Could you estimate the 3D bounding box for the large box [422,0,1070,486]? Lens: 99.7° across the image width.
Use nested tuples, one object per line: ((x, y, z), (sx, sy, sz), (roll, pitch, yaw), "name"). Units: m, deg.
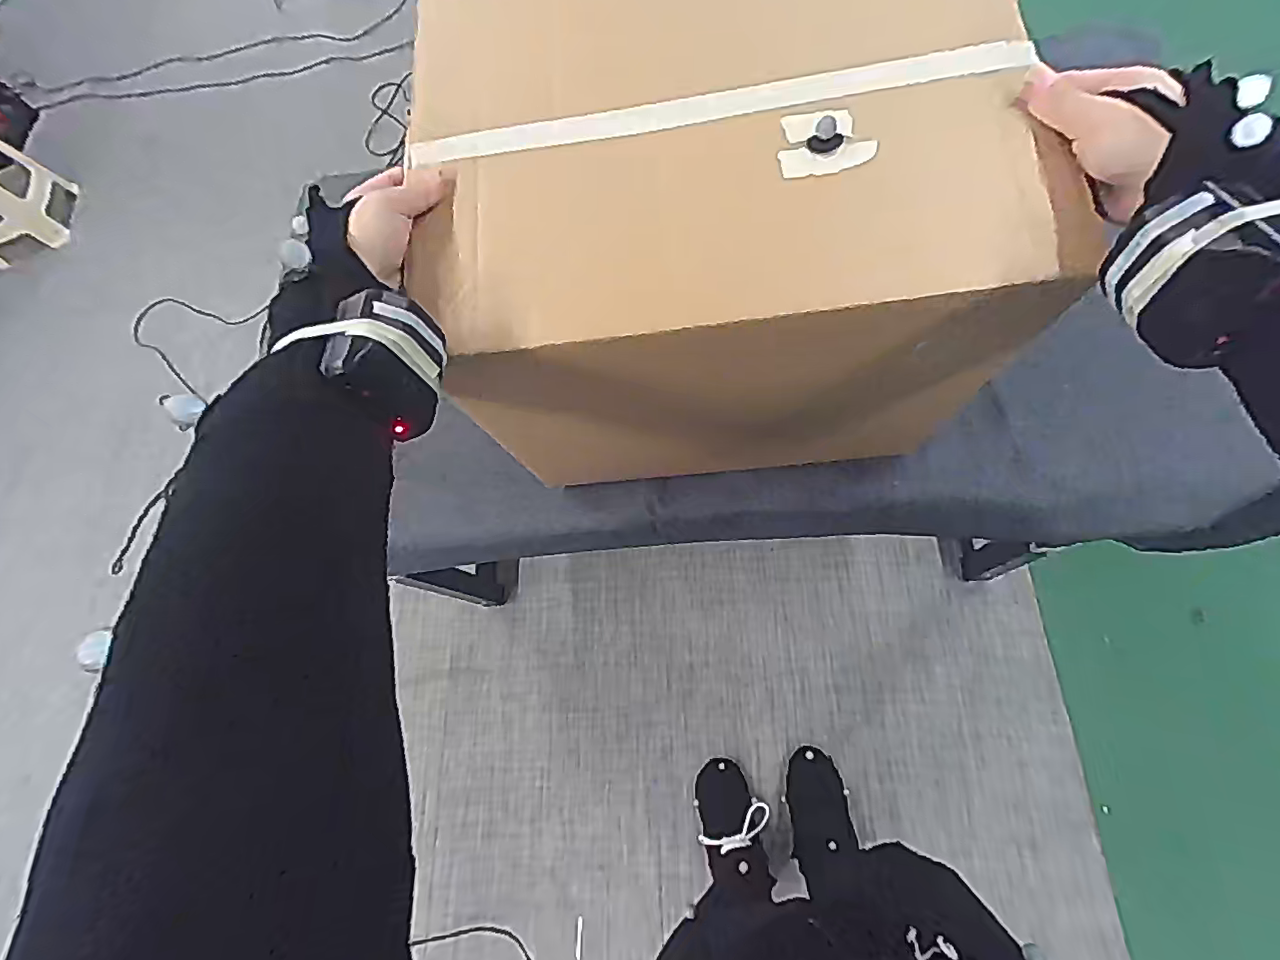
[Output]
((0.057, -0.200, 0.513), (0.408, 0.320, 0.320), (-6, 74, 4), "large box")
